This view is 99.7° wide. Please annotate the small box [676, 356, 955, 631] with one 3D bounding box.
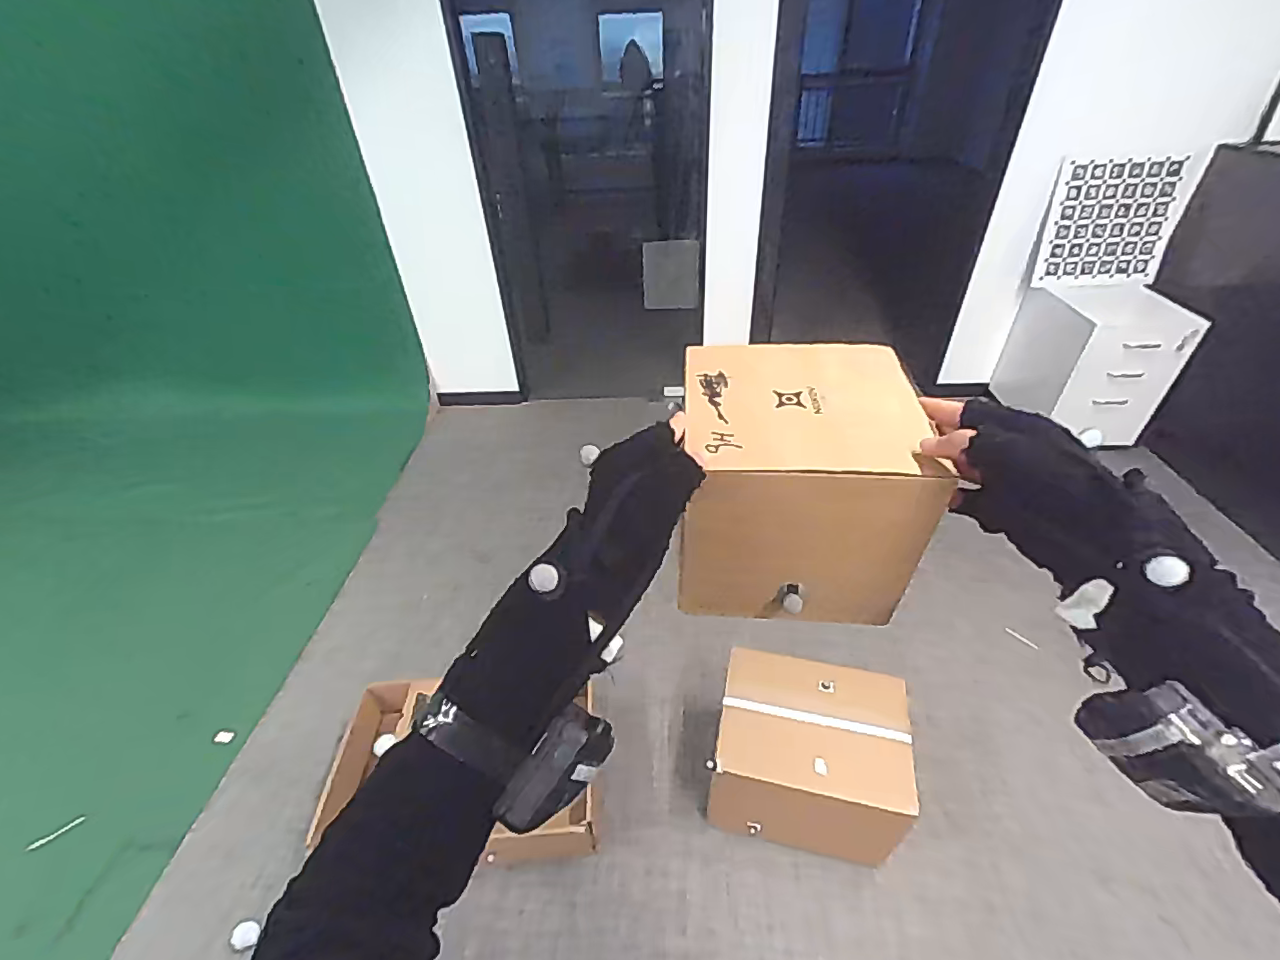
[{"bbox_3d":[0.125,0.012,0.463,0.179,0.176,0.168,2,41,4],"label":"small box"}]
